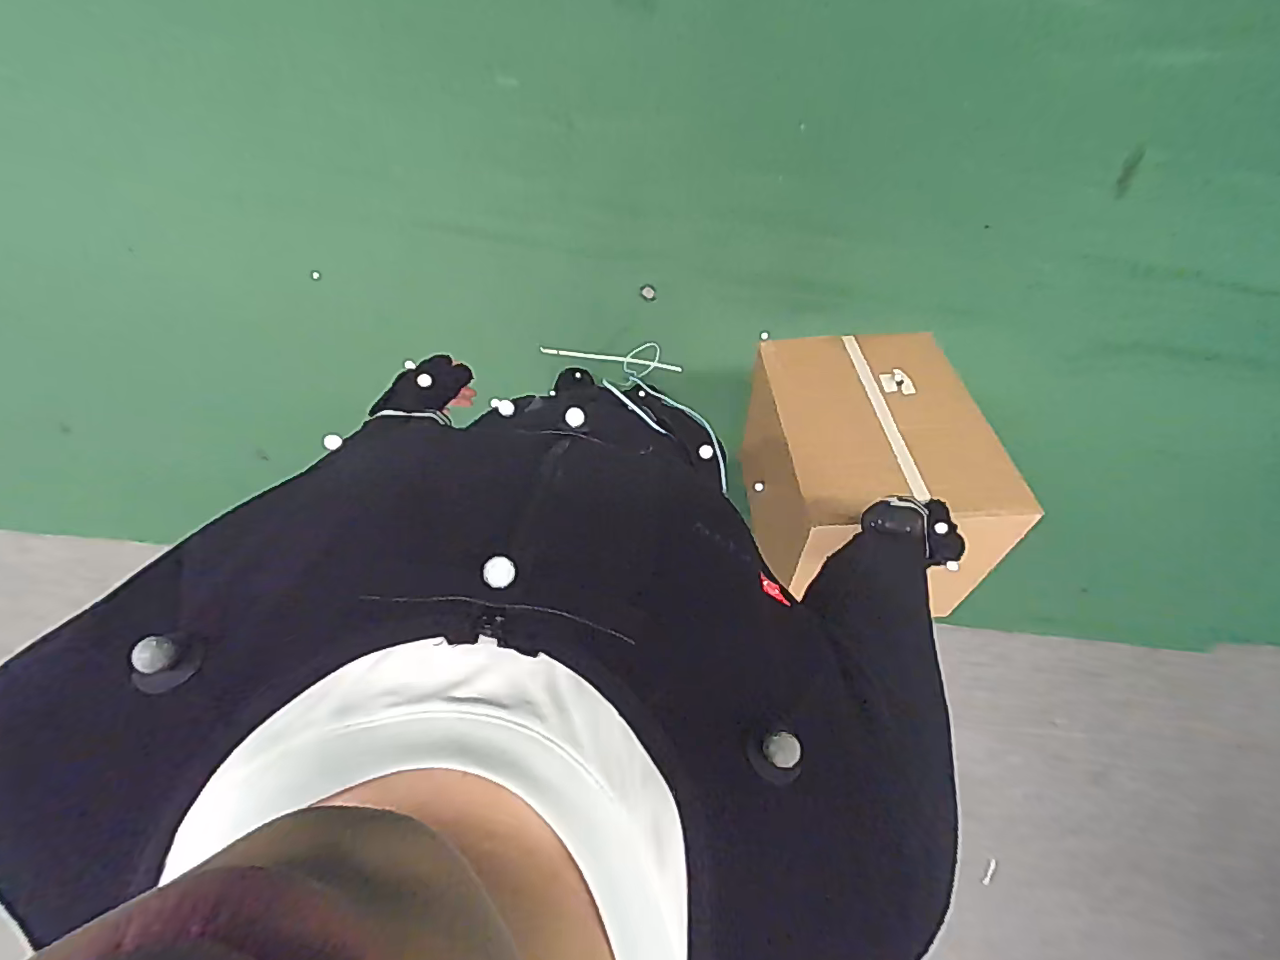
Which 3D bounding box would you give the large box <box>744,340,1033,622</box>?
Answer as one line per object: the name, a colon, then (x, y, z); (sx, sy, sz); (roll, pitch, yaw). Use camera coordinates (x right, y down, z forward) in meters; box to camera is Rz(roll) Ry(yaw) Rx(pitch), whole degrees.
large box: (0.385, 0.000, 0.975); (0.320, 0.408, 0.320); (-2, 140, 0)
